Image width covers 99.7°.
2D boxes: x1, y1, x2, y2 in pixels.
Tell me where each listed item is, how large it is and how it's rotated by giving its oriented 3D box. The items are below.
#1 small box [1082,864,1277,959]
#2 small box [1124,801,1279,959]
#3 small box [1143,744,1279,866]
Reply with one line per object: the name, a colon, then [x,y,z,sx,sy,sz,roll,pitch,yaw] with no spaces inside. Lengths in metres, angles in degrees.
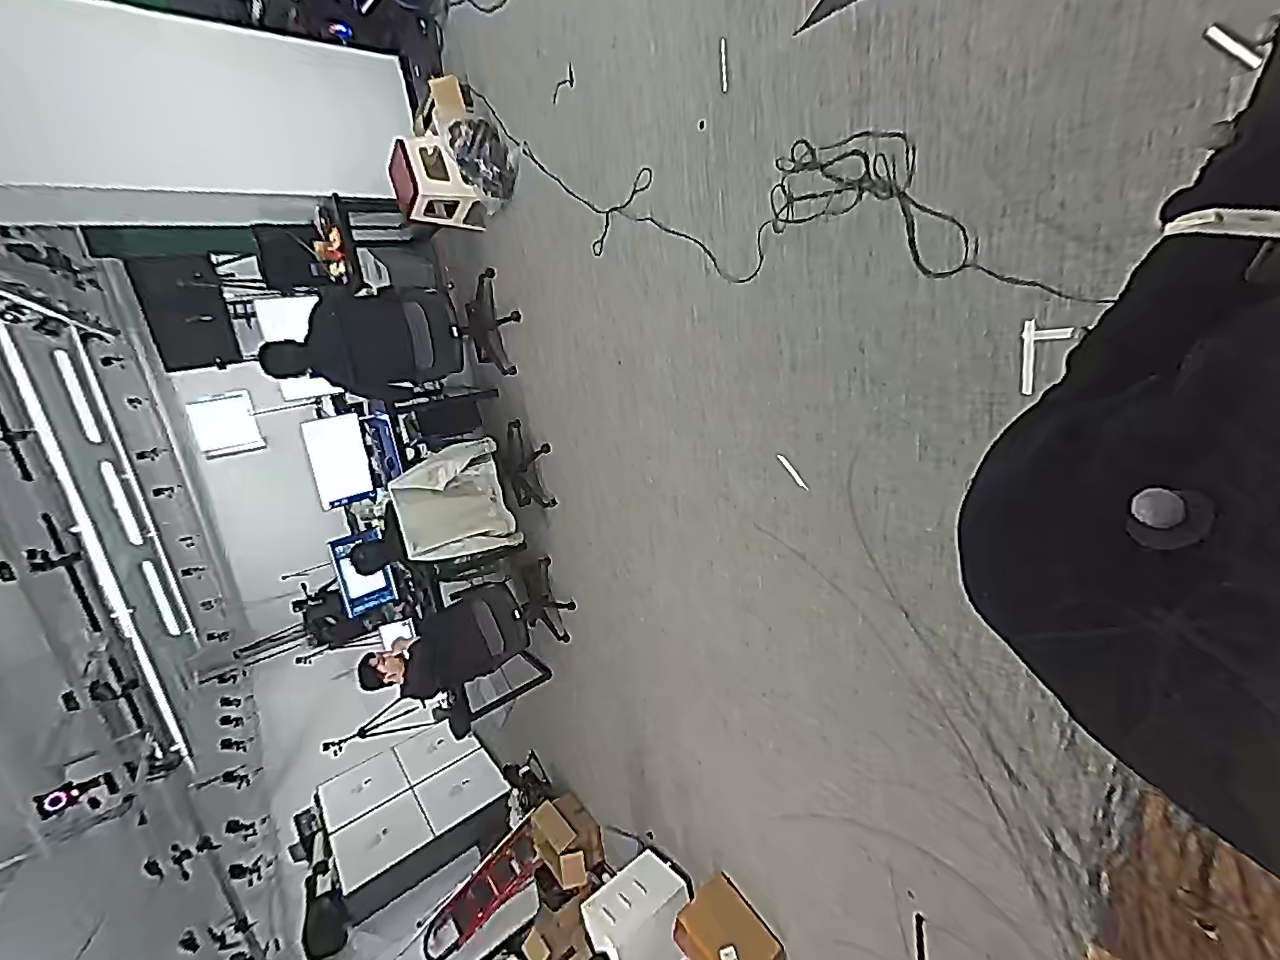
small box: [0.715,0.683,0.726,0.168,0.176,0.179,12,114,49]
small box: [0.841,0.639,0.818,0.168,0.176,0.179,15,118,49]
small box: [0.966,0.592,0.915,0.168,0.176,0.179,16,117,49]
